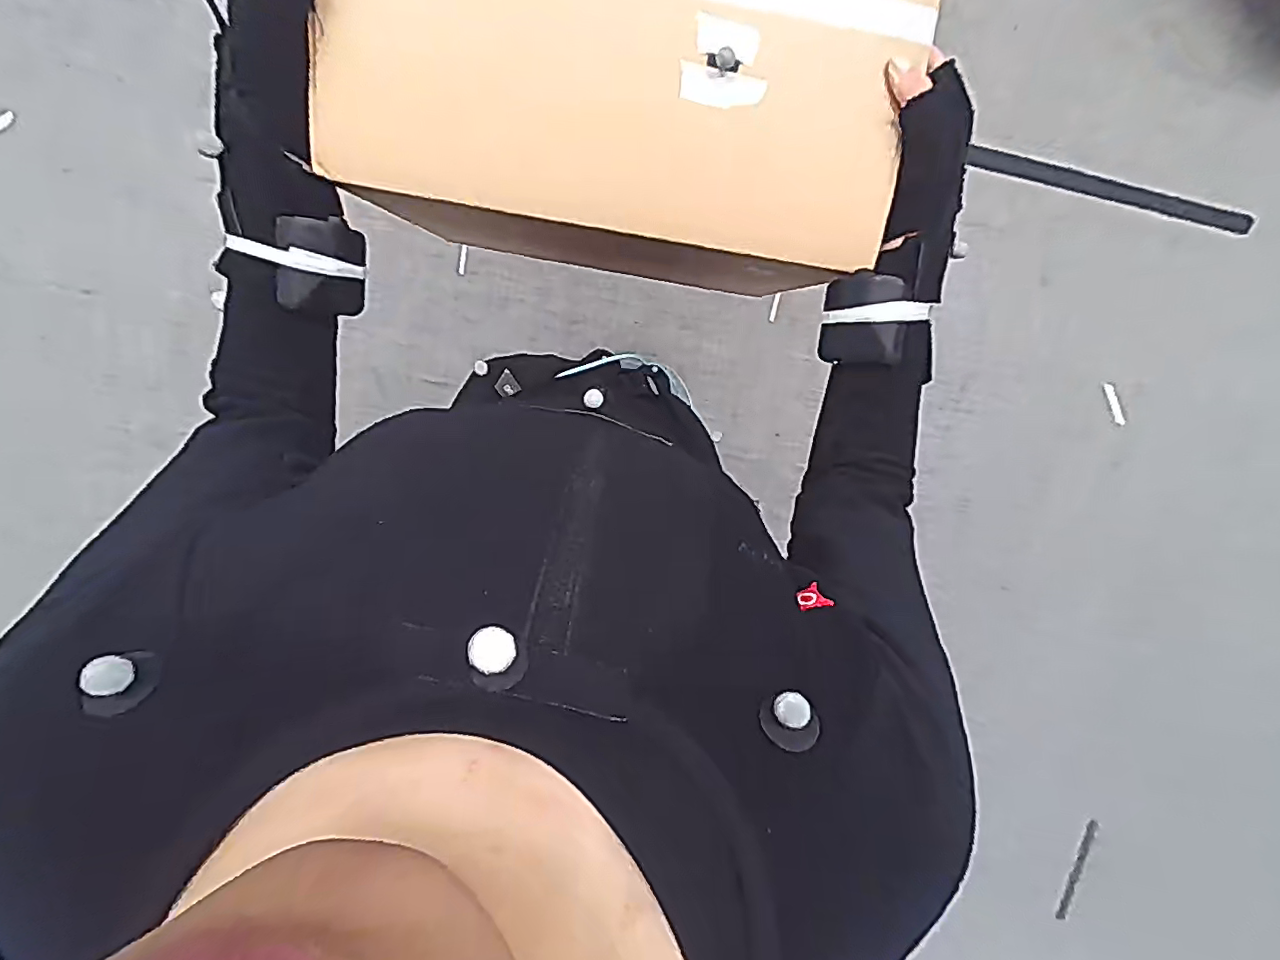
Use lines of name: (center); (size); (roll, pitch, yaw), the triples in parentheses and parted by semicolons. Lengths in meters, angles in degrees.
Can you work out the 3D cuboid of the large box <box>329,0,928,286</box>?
large box: (-0.010, -0.378, 0.501); (0.408, 0.320, 0.320); (7, 106, -5)
